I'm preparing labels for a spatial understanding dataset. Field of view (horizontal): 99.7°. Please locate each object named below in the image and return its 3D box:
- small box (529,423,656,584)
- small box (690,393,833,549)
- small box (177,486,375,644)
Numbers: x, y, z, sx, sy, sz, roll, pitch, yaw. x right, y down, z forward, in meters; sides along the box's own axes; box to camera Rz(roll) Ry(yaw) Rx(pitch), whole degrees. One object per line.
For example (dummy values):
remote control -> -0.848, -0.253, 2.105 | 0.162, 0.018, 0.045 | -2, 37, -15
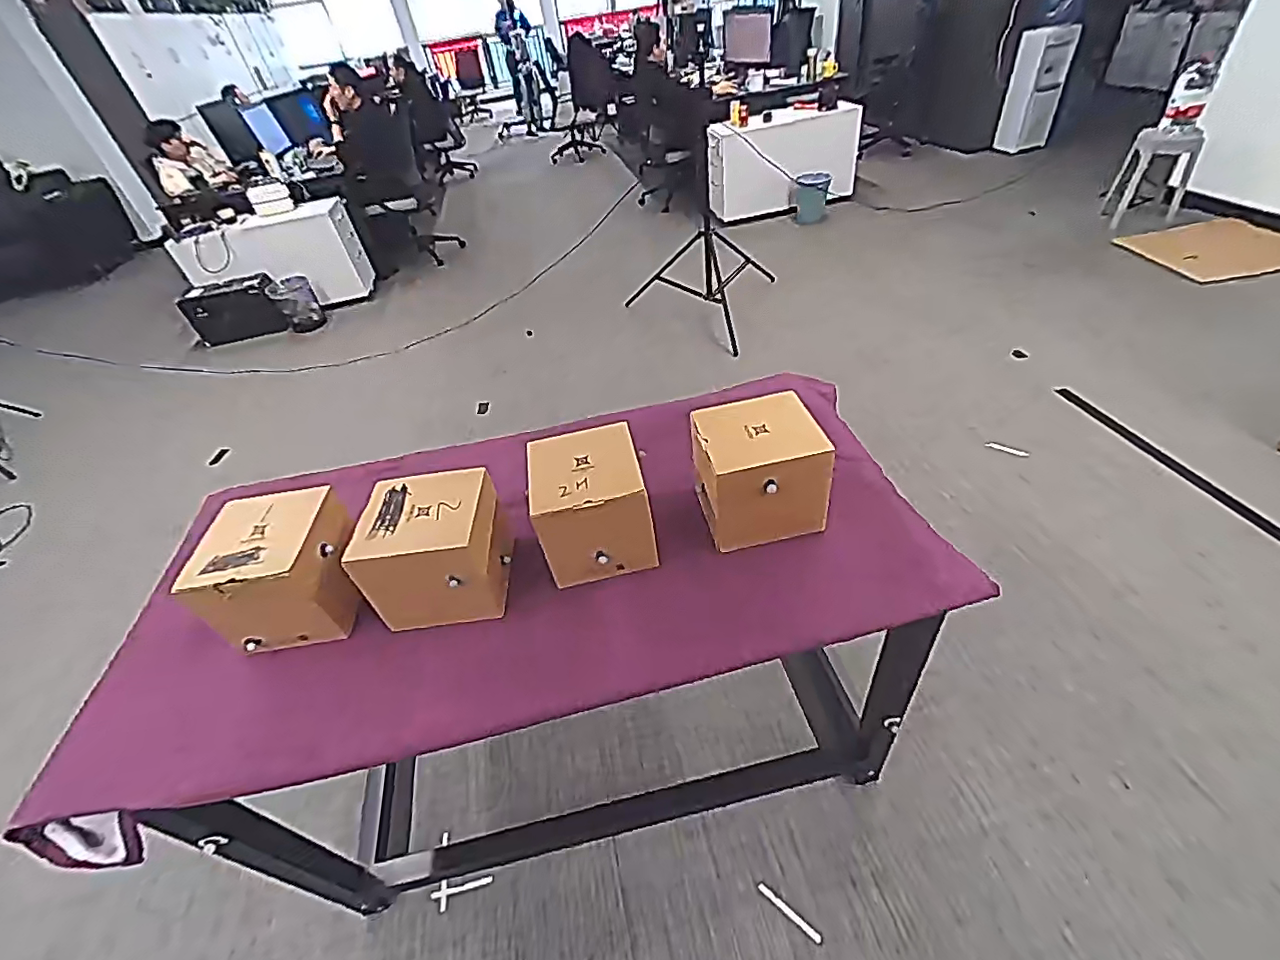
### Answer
small box -> -0.076, 0.037, 0.864 | 0.168, 0.176, 0.179 | -13, 42, -2
small box -> 0.186, -0.013, 0.869 | 0.179, 0.176, 0.168 | -12, 40, -2
small box -> -0.543, 0.138, 0.841 | 0.168, 0.176, 0.179 | -9, 42, 0
